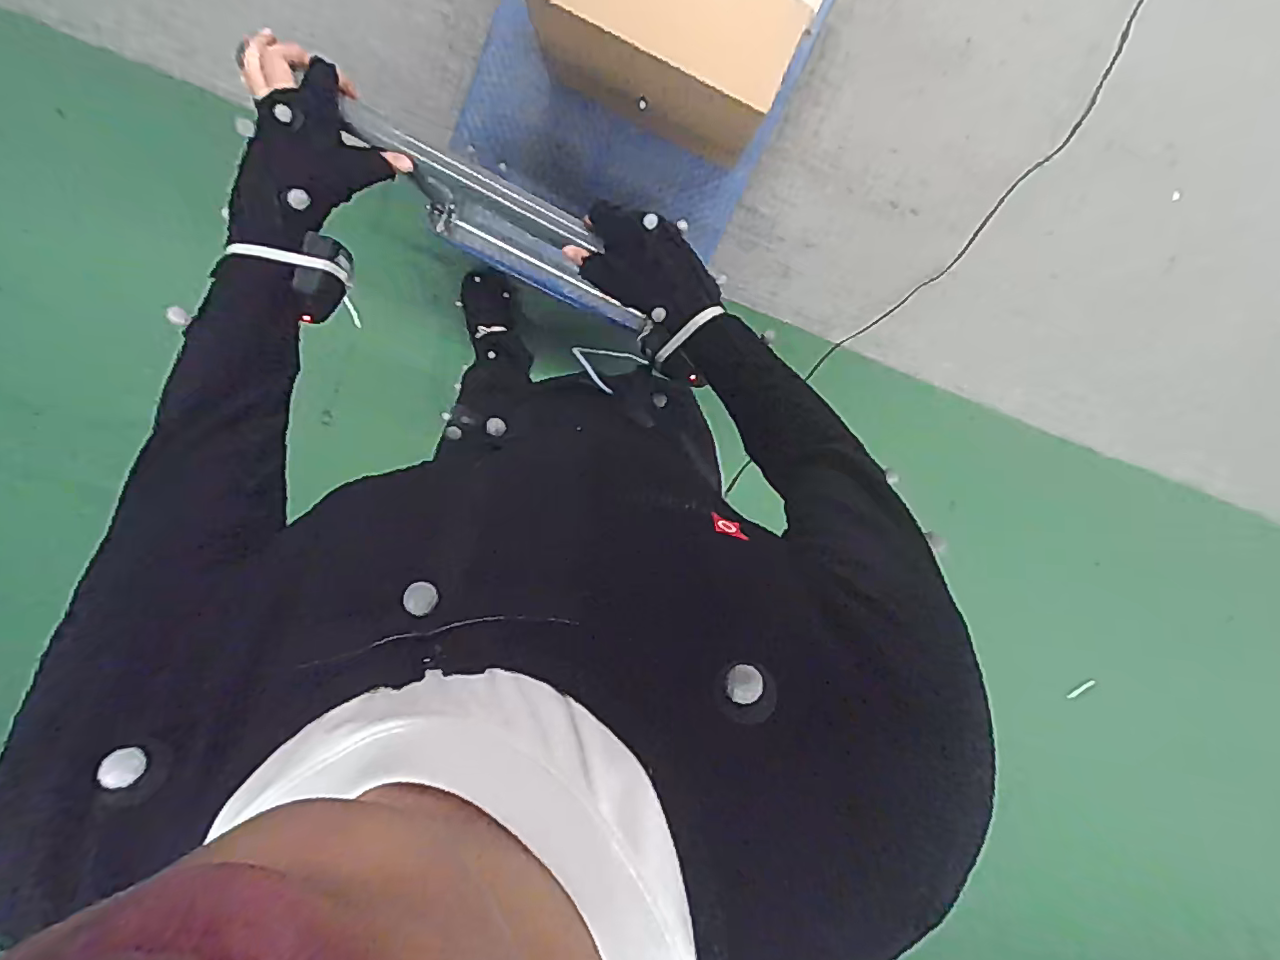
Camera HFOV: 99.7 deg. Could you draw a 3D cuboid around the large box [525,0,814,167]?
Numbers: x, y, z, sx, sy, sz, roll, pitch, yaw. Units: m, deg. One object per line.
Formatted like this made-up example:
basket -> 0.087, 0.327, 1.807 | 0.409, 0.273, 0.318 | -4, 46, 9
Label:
large box -> 0.070, -0.806, 0.912 | 0.408, 0.320, 0.320 | 24, 103, -6
